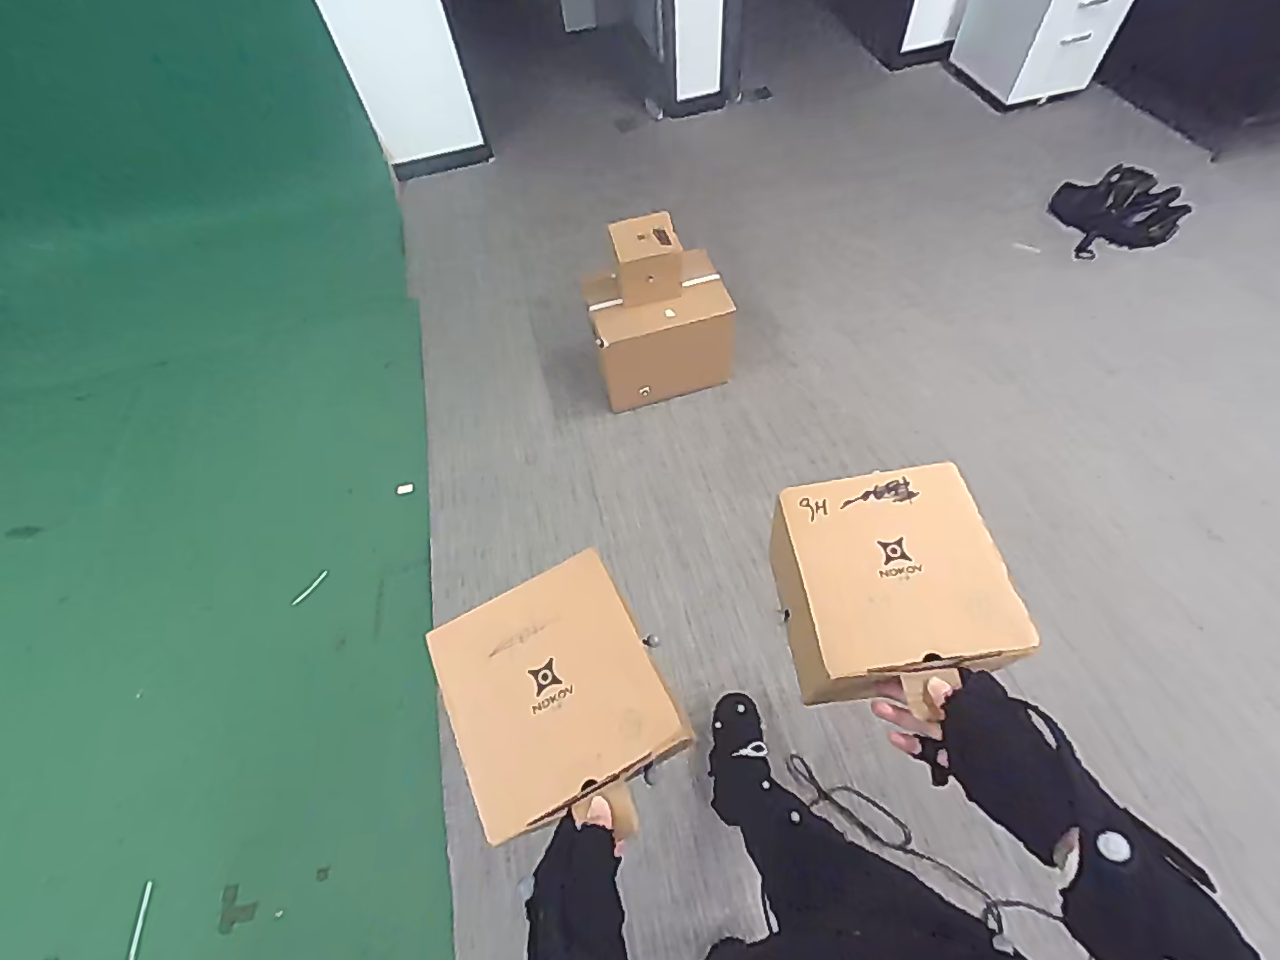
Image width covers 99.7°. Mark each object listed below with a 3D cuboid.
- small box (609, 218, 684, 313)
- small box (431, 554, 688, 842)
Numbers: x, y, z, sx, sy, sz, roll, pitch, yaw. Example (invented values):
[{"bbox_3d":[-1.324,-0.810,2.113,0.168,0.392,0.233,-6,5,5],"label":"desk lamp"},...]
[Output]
[{"bbox_3d":[0.019,-0.611,1.555,0.179,0.176,0.168,-16,64,-5],"label":"small box"},{"bbox_3d":[-0.065,0.205,0.520,0.168,0.176,0.179,-29,62,-6],"label":"small box"}]
